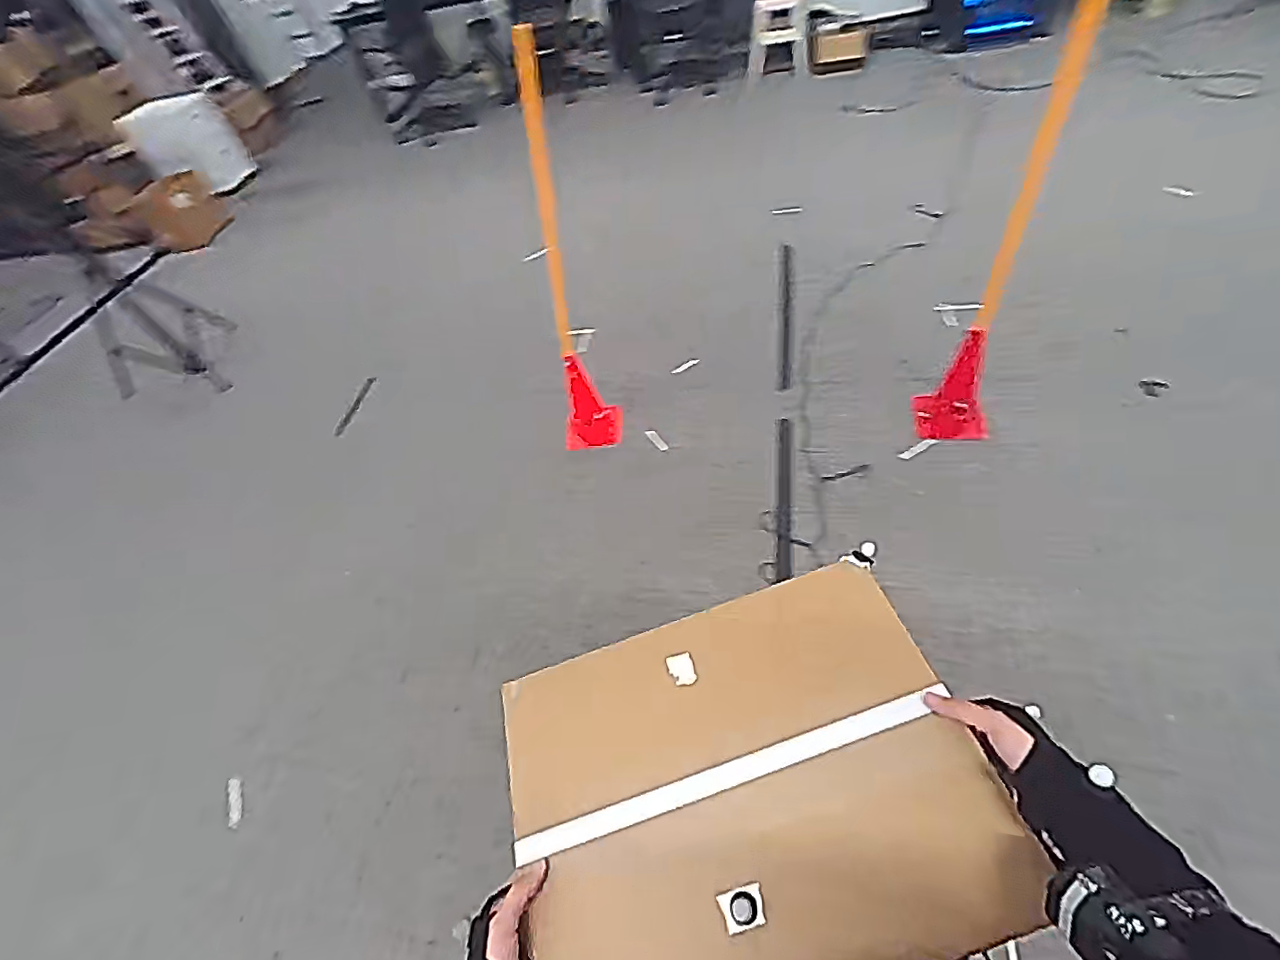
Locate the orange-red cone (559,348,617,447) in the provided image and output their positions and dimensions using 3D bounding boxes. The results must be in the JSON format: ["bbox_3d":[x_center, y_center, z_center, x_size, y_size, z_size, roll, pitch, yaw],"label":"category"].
[{"bbox_3d":[-0.218,-0.309,1.891,0.199,0.360,0.198,-7,51,9],"label":"orange-red cone"}]
